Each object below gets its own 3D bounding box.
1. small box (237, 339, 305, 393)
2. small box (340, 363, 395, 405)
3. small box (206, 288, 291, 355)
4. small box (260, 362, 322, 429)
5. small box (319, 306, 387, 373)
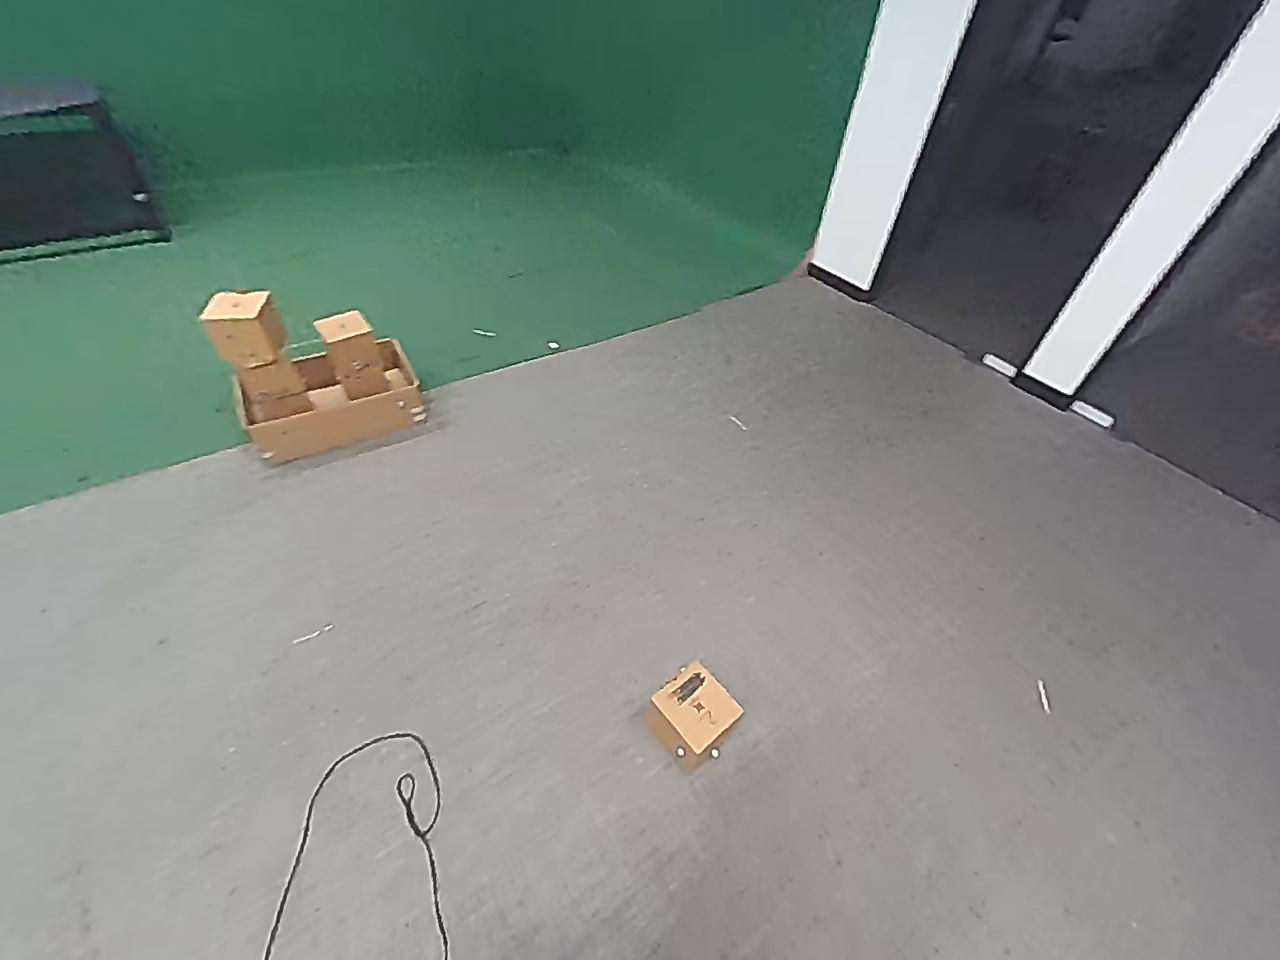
[{"bbox_3d":[-1.357,-0.435,1.984,0.168,0.176,0.179,-21,51,-25],"label":"small box"},{"bbox_3d":[-1.134,-0.439,2.243,0.168,0.176,0.179,-19,51,-21],"label":"small box"},{"bbox_3d":[-1.338,-0.544,1.865,0.168,0.176,0.179,-4,46,-11],"label":"small box"},{"bbox_3d":[-1.370,-0.329,2.109,0.168,0.176,0.179,-23,53,-26],"label":"small box"},{"bbox_3d":[-1.123,-0.549,2.124,0.168,0.176,0.179,-28,57,-26],"label":"small box"}]
